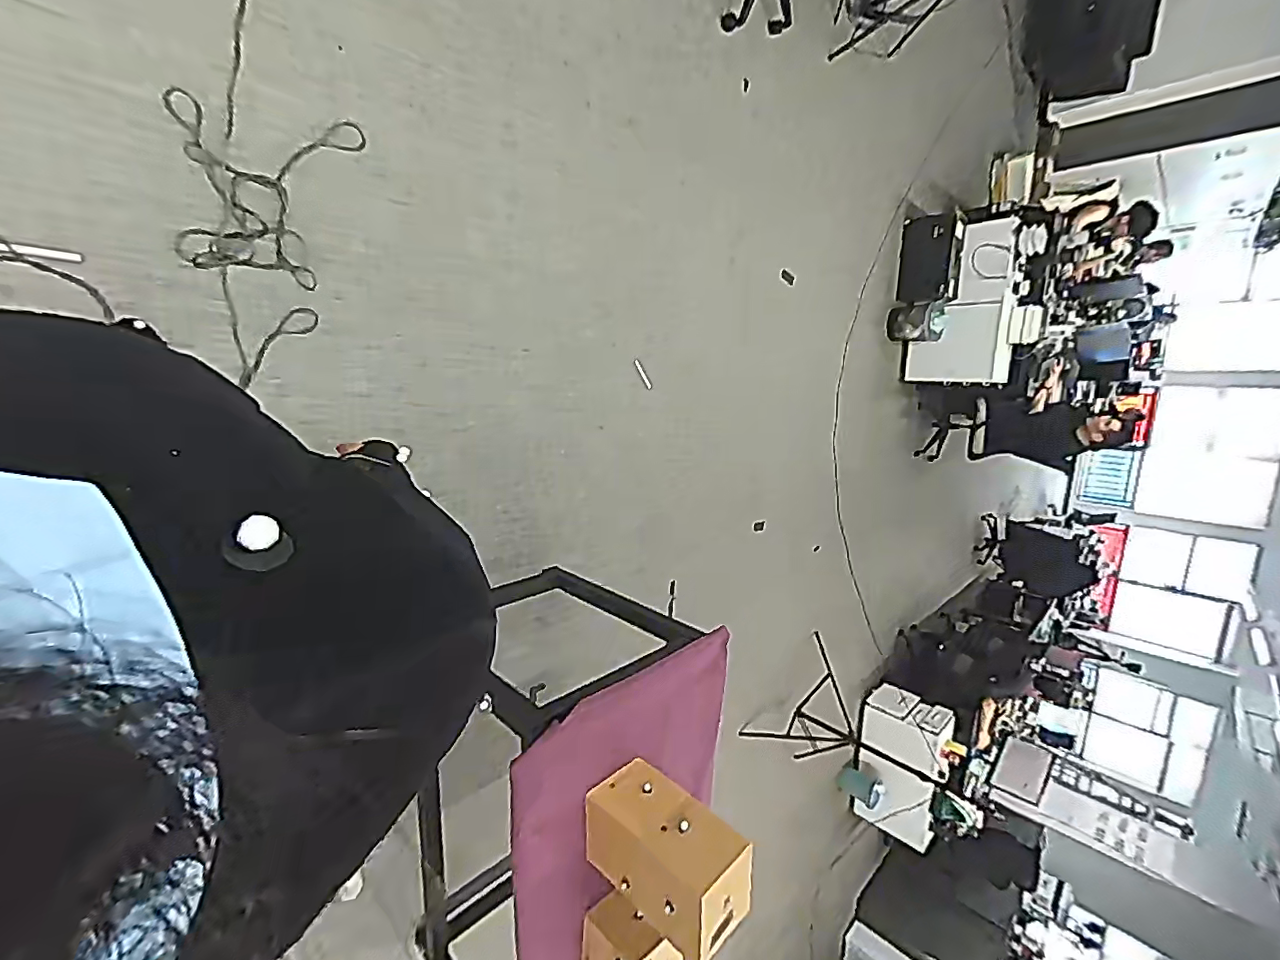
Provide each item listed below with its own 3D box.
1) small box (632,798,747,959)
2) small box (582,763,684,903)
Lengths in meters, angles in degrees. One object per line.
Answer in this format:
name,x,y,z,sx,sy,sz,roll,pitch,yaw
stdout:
small box,0.096,0.795,1.090,0.168,0.176,0.179,-13,108,-44
small box,-0.018,0.768,1.205,0.168,0.176,0.179,-13,108,-44
